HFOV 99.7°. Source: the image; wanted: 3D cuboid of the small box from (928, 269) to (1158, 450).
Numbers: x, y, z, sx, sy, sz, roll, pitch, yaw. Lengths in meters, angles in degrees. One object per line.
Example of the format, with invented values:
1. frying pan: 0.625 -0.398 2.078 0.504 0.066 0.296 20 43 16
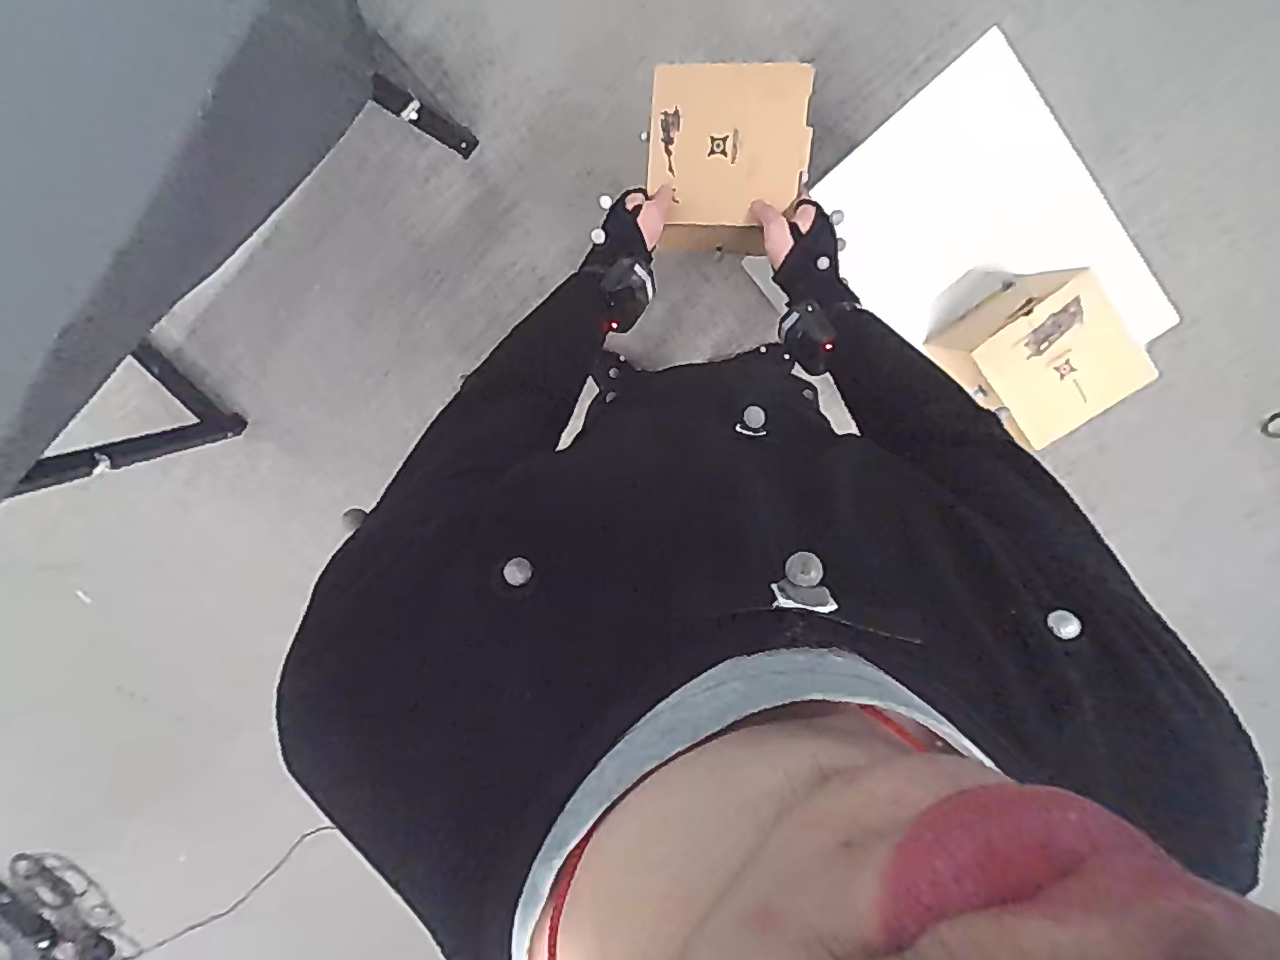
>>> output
1. small box: 0.558 -0.172 0.777 0.168 0.176 0.179 -39 101 14

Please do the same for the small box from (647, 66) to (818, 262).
1. small box: 0.104 -0.374 0.669 0.179 0.176 0.168 3 101 4
